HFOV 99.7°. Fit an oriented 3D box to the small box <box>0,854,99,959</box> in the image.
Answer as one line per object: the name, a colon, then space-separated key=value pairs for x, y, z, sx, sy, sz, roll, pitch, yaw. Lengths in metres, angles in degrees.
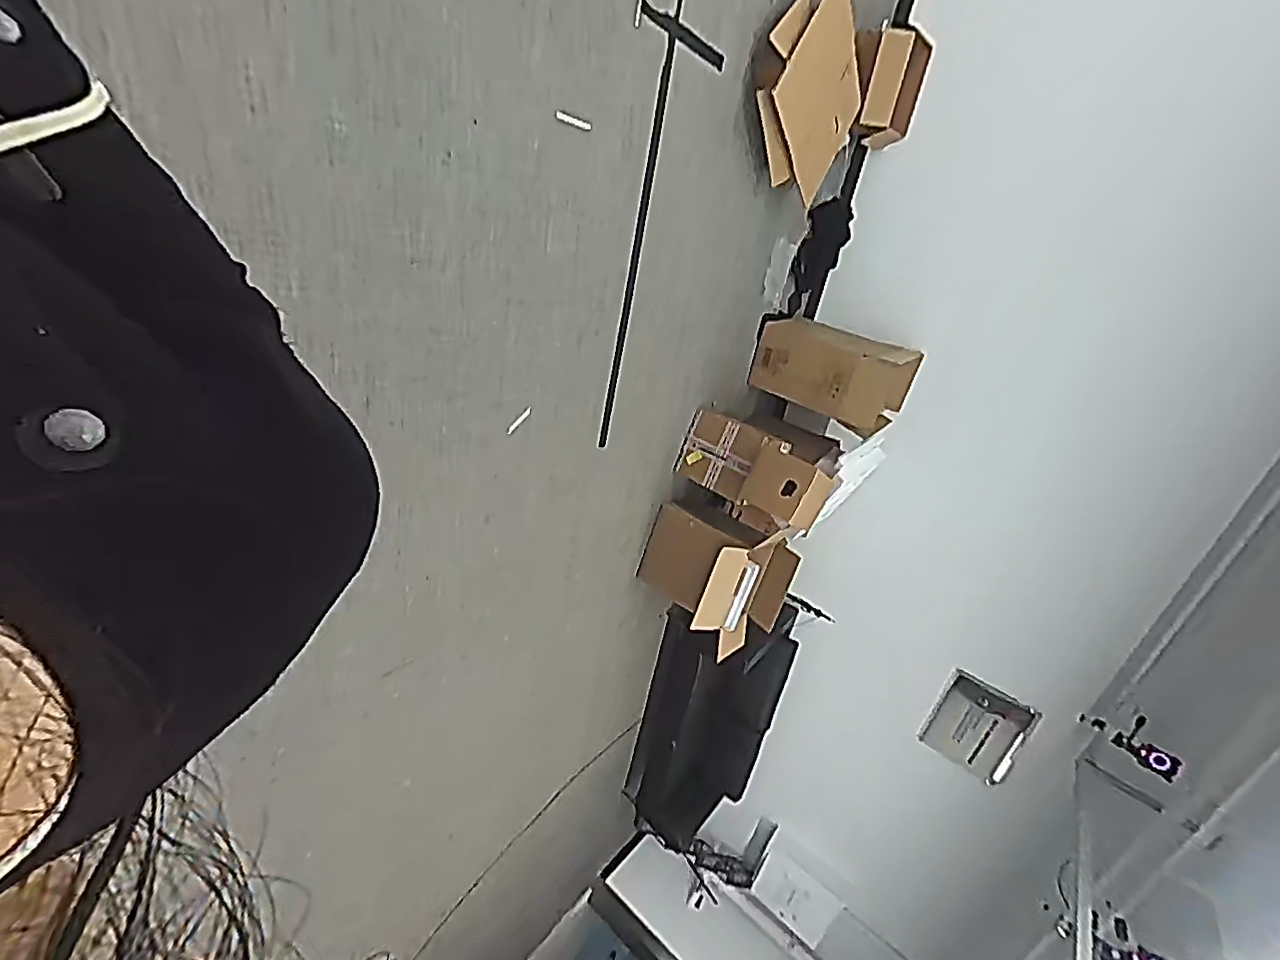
small box: x=-0.716 y=0.561 z=0.590 sx=0.168 sy=0.176 sz=0.179 roll=-17 pitch=127 yaw=-50

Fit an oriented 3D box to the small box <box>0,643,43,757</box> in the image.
small box: x=-1.095 y=0.383 z=0.845 sx=0.179 sy=0.176 sz=0.168 roll=-20 pitch=128 yaw=-47

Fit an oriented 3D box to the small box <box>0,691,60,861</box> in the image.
small box: x=-0.968 y=0.438 z=0.761 sx=0.168 sy=0.176 sz=0.179 roll=-20 pitch=128 yaw=-49
